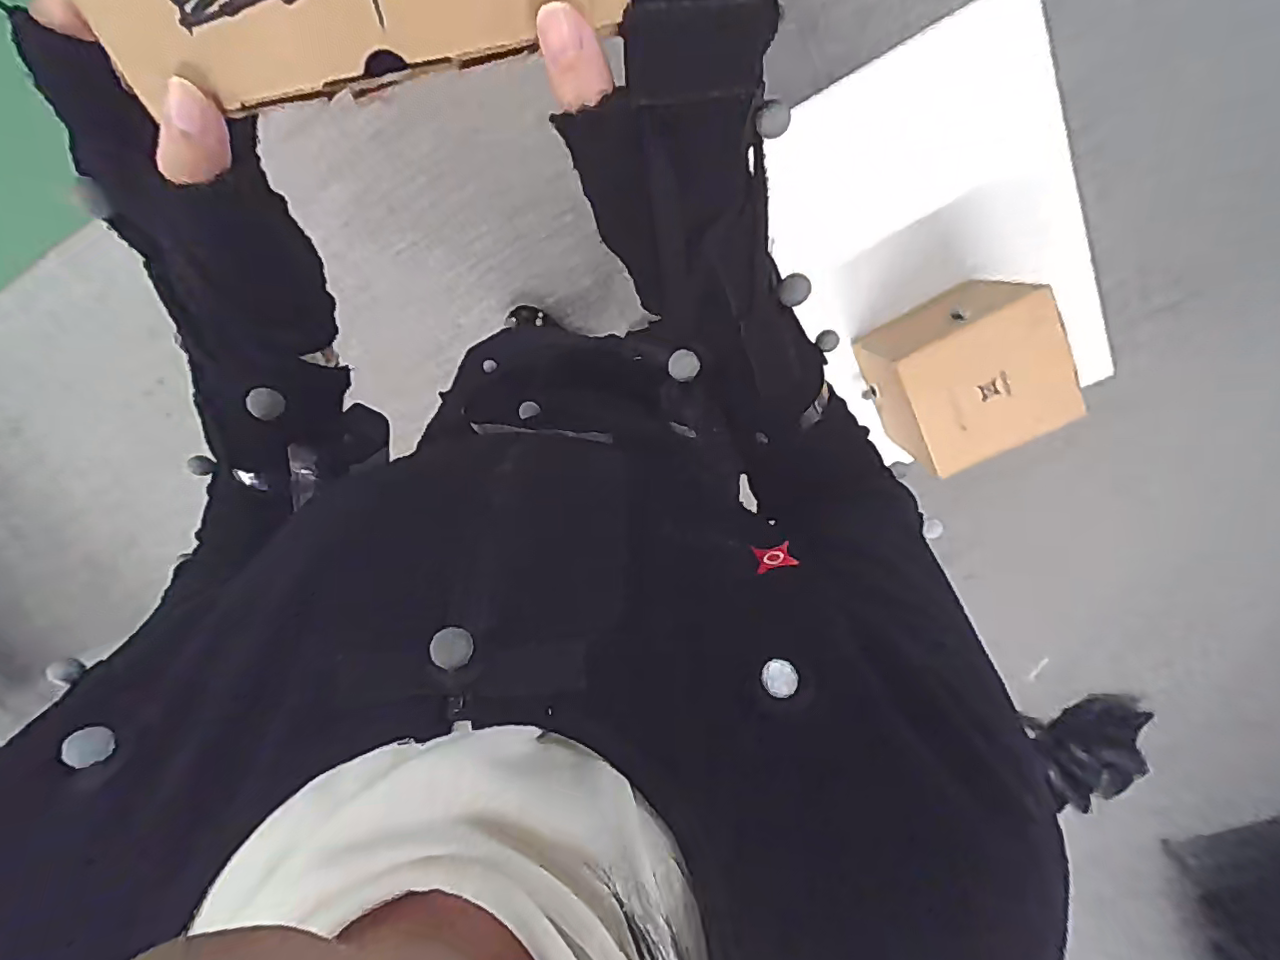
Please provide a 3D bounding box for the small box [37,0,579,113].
[{"bbox_3d":[-0.113,-0.252,0.178,0.168,0.176,0.179,-9,132,5],"label":"small box"}]

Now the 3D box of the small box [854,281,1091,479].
[{"bbox_3d":[0.400,-0.134,0.677,0.179,0.176,0.168,-27,108,14],"label":"small box"}]
